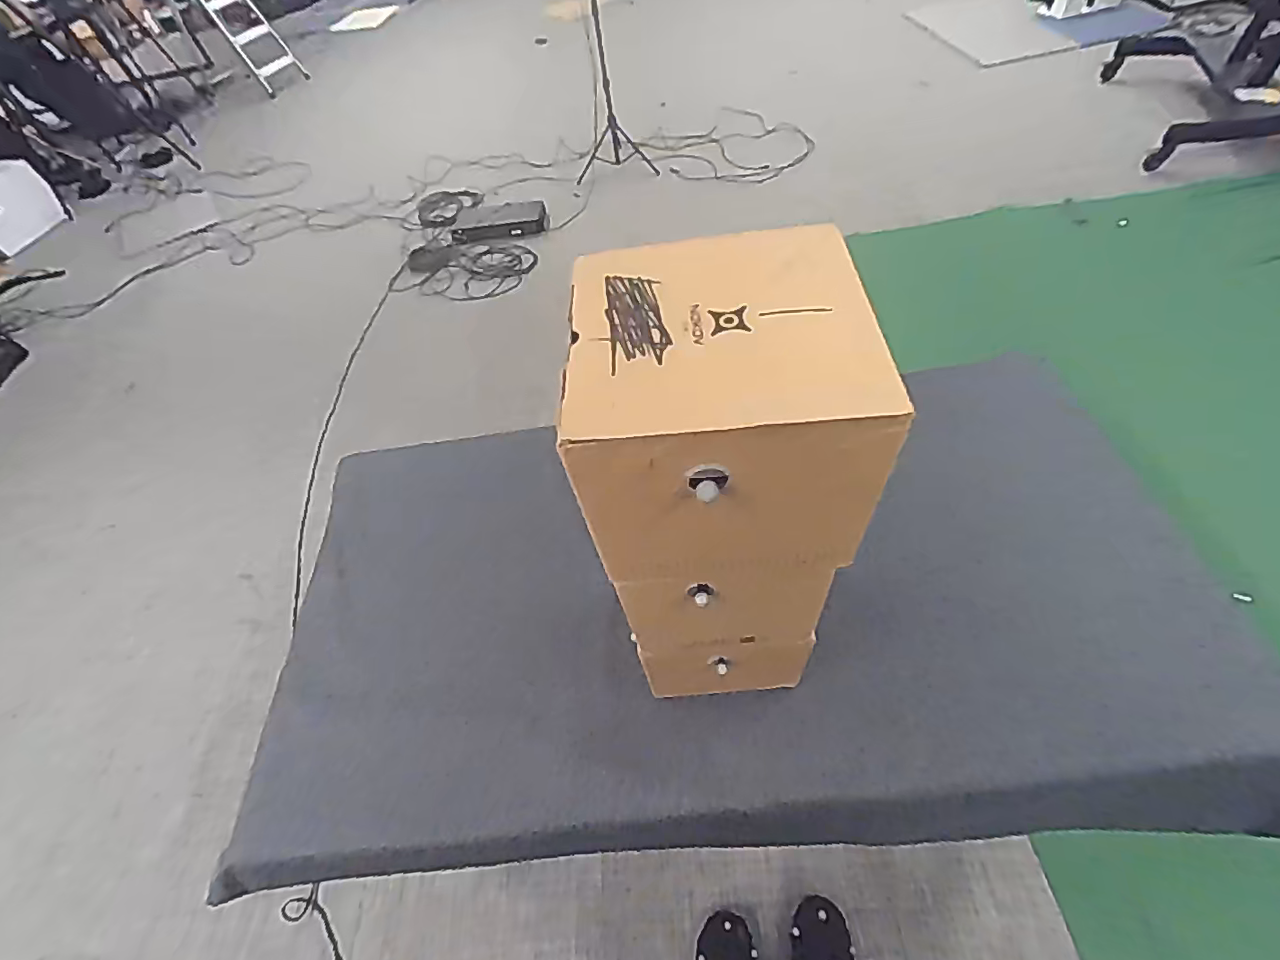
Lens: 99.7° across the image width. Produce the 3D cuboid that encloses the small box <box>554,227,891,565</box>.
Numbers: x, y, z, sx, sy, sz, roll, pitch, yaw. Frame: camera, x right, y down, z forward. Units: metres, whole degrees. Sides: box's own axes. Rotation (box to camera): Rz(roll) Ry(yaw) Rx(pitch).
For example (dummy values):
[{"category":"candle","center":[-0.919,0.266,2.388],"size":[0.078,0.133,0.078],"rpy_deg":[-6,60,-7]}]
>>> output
[{"category":"small box","center":[0.051,-0.048,0.386],"size":[0.179,0.176,0.168],"rpy_deg":[-4,55,5]}]

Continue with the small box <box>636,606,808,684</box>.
[{"category":"small box","center":[0.090,0.138,0.653],"size":[0.179,0.176,0.168],"rpy_deg":[-6,54,4]}]

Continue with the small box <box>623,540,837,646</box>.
[{"category":"small box","center":[0.071,0.043,0.524],"size":[0.168,0.176,0.179],"rpy_deg":[-7,55,3]}]
